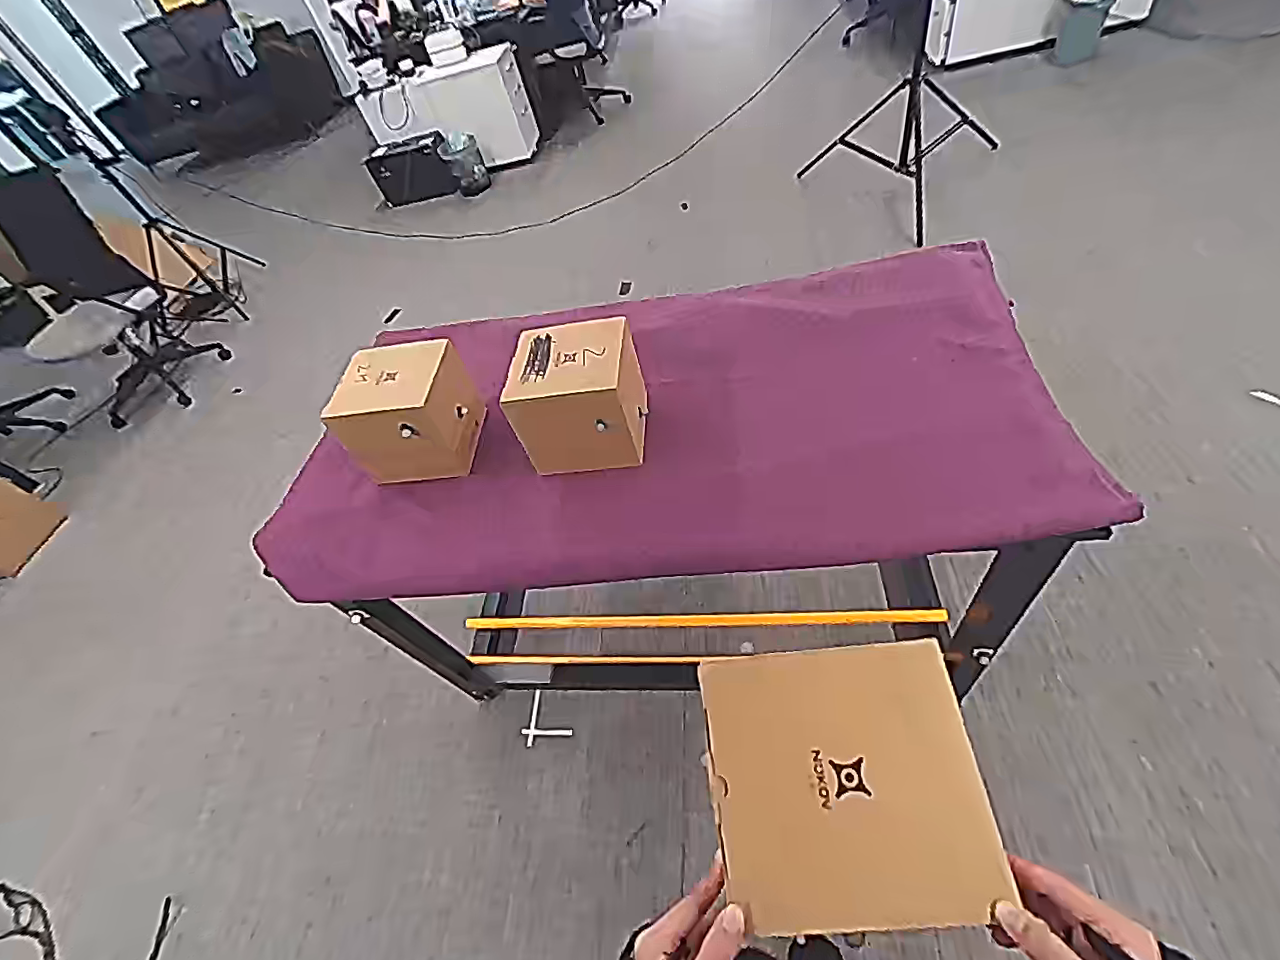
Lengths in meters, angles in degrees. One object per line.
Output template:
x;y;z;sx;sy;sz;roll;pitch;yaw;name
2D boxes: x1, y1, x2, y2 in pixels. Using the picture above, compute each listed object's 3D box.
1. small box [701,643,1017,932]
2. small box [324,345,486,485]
0.148;0.234;0.437;0.179;0.176;0.168;-8;63;6;small box
-0.388;-0.107;0.932;0.179;0.176;0.168;-5;50;9;small box
